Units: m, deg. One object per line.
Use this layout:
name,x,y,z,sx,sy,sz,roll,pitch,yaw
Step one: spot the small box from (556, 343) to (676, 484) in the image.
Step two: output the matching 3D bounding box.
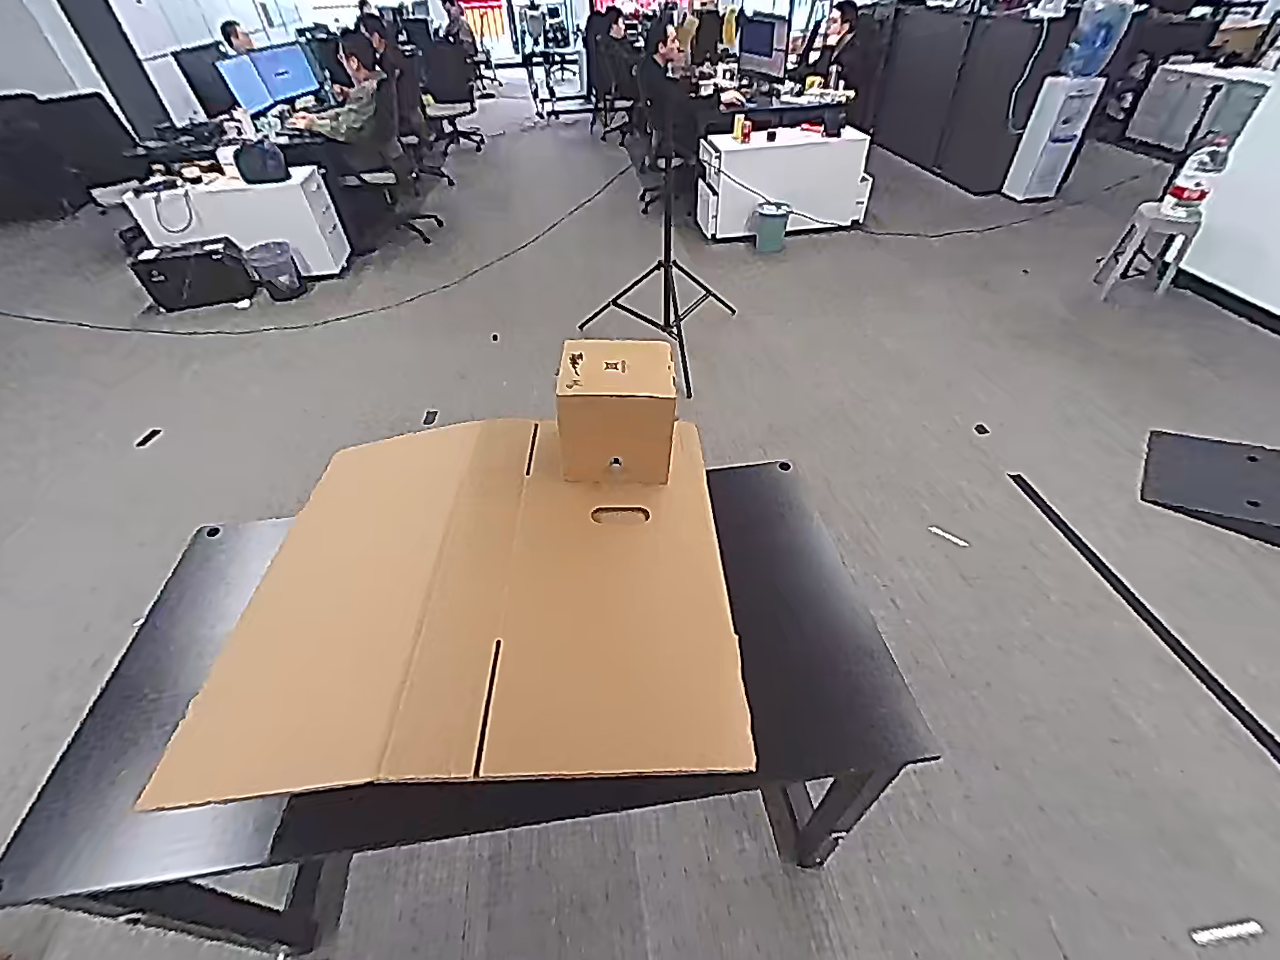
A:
small box,-0.040,-0.107,0.890,0.179,0.176,0.168,1,41,-3
